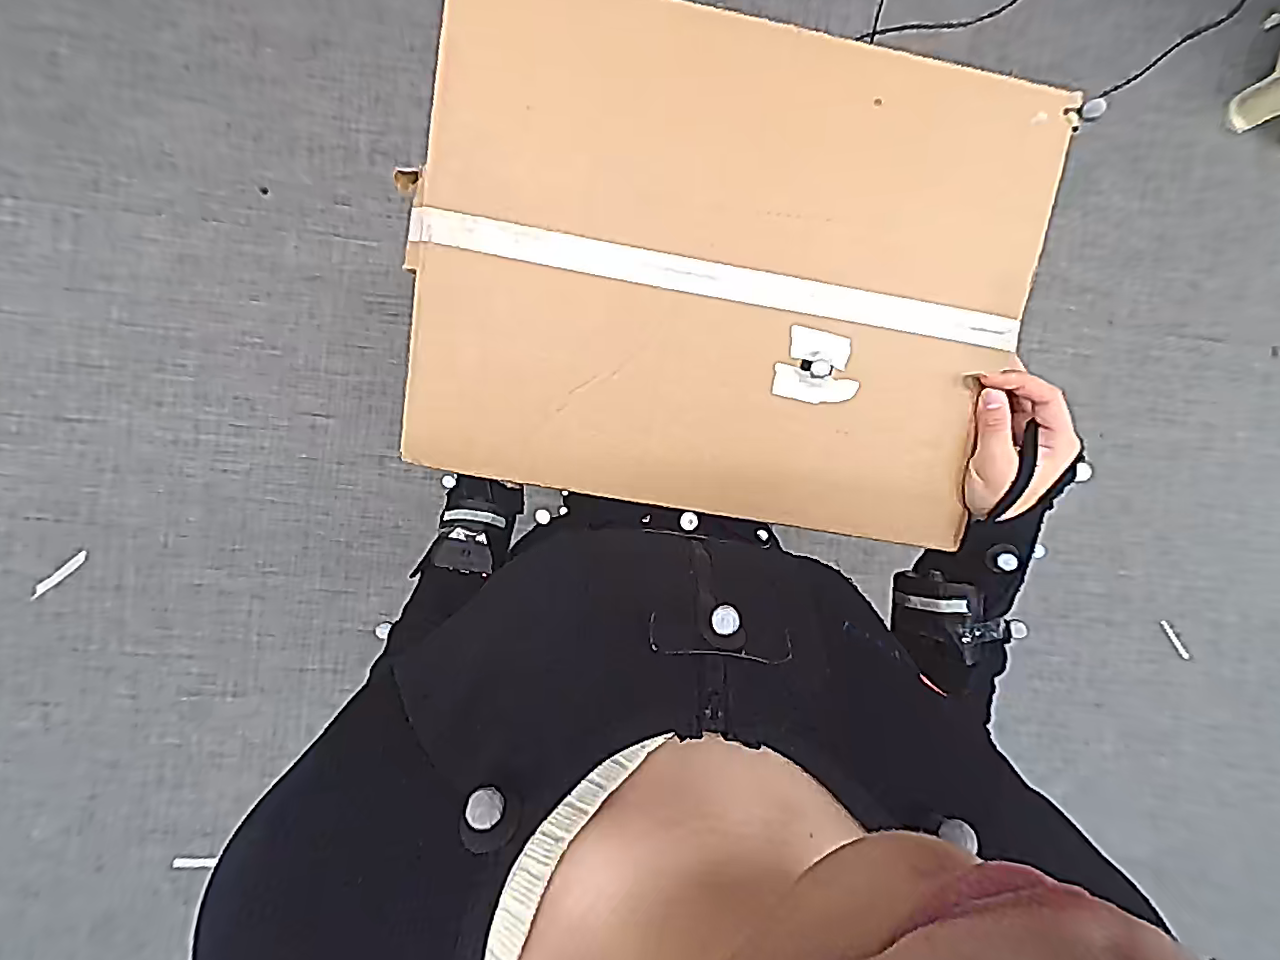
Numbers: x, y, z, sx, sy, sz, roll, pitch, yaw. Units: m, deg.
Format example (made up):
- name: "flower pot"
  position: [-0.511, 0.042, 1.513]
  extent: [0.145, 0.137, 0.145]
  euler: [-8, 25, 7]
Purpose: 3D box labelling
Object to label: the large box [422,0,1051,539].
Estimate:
- name: "large box"
  position: [0.051, -0.152, 0.516]
  extent: [0.408, 0.320, 0.320]
  euler: [8, 100, -6]
